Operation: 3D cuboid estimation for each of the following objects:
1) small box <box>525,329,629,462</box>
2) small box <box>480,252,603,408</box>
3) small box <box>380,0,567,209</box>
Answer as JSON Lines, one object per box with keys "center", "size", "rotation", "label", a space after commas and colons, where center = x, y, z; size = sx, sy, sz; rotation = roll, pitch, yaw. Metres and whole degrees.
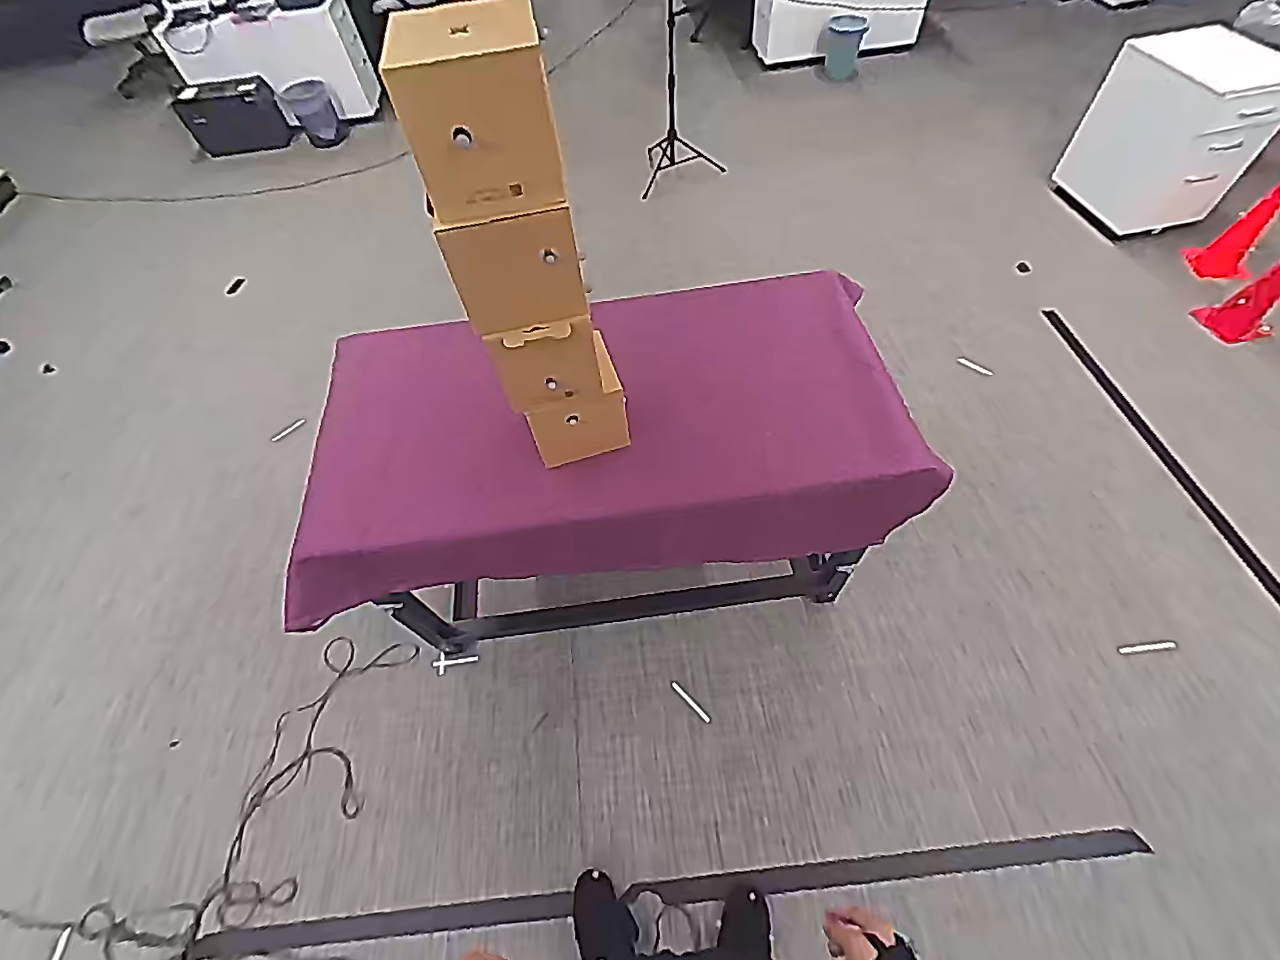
{"center": [-0.129, -0.157, 1.047], "size": [0.179, 0.176, 0.168], "rotation": [-16, 57, -7], "label": "small box"}
{"center": [-0.163, -0.249, 0.914], "size": [0.168, 0.176, 0.179], "rotation": [-12, 57, -2], "label": "small box"}
{"center": [-0.190, -0.451, 0.656], "size": [0.168, 0.176, 0.179], "rotation": [-12, 55, -3], "label": "small box"}
